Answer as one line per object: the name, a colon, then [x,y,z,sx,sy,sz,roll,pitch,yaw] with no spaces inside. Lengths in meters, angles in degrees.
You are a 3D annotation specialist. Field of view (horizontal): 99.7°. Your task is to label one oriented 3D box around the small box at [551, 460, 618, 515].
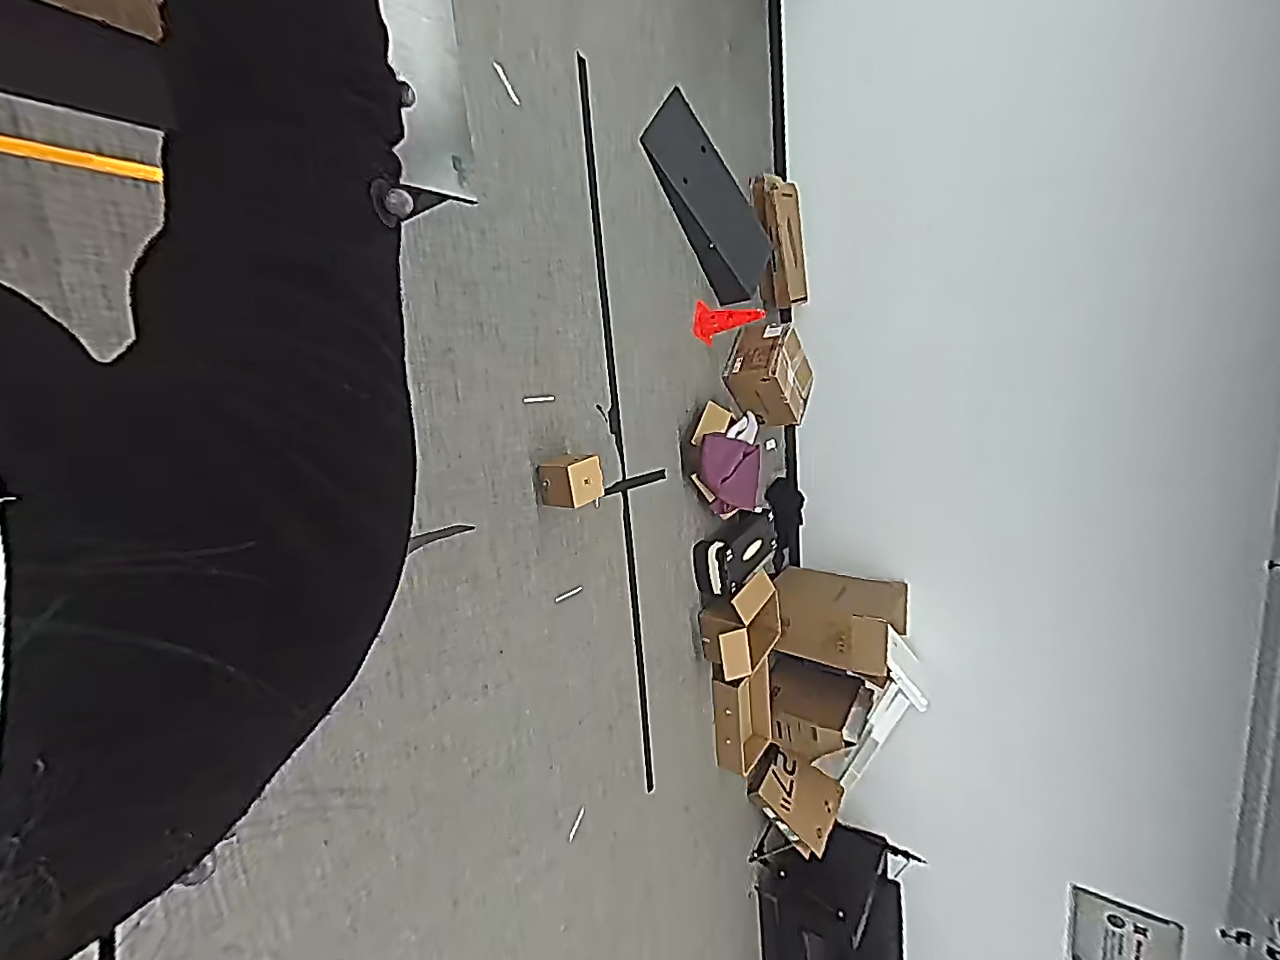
small box: [-0.211,0.021,2.059,0.179,0.176,0.168,-27,113,-48]
